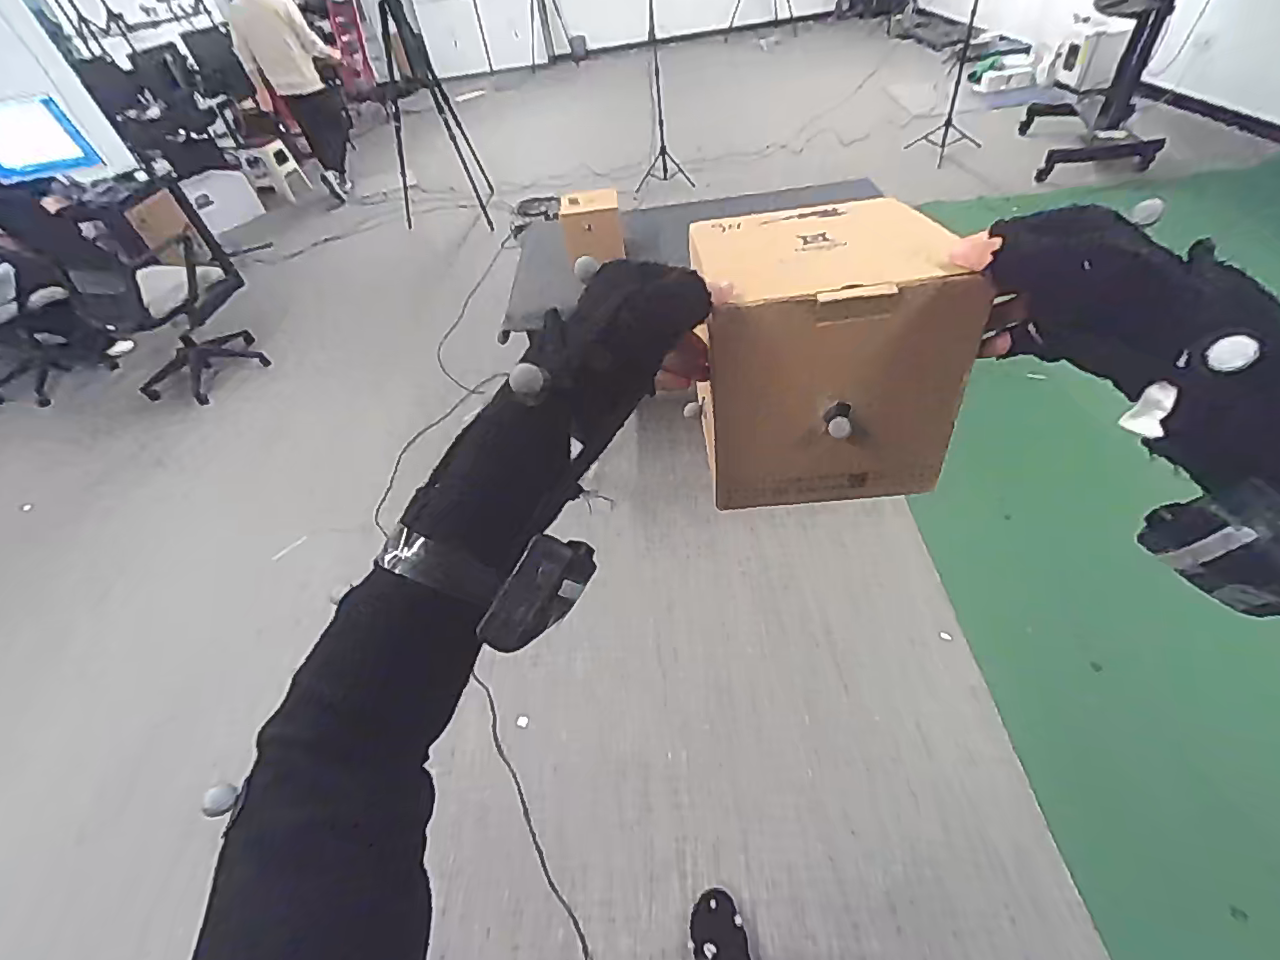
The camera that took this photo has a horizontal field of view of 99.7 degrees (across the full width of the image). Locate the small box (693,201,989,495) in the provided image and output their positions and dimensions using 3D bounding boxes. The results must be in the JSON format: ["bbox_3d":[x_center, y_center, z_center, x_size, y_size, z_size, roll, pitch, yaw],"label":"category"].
[{"bbox_3d":[0.134,-0.100,0.432,0.168,0.176,0.179,-5,40,4],"label":"small box"}]

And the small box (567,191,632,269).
[{"bbox_3d":[-0.122,-0.771,1.679,0.179,0.176,0.168,-6,46,2],"label":"small box"}]
